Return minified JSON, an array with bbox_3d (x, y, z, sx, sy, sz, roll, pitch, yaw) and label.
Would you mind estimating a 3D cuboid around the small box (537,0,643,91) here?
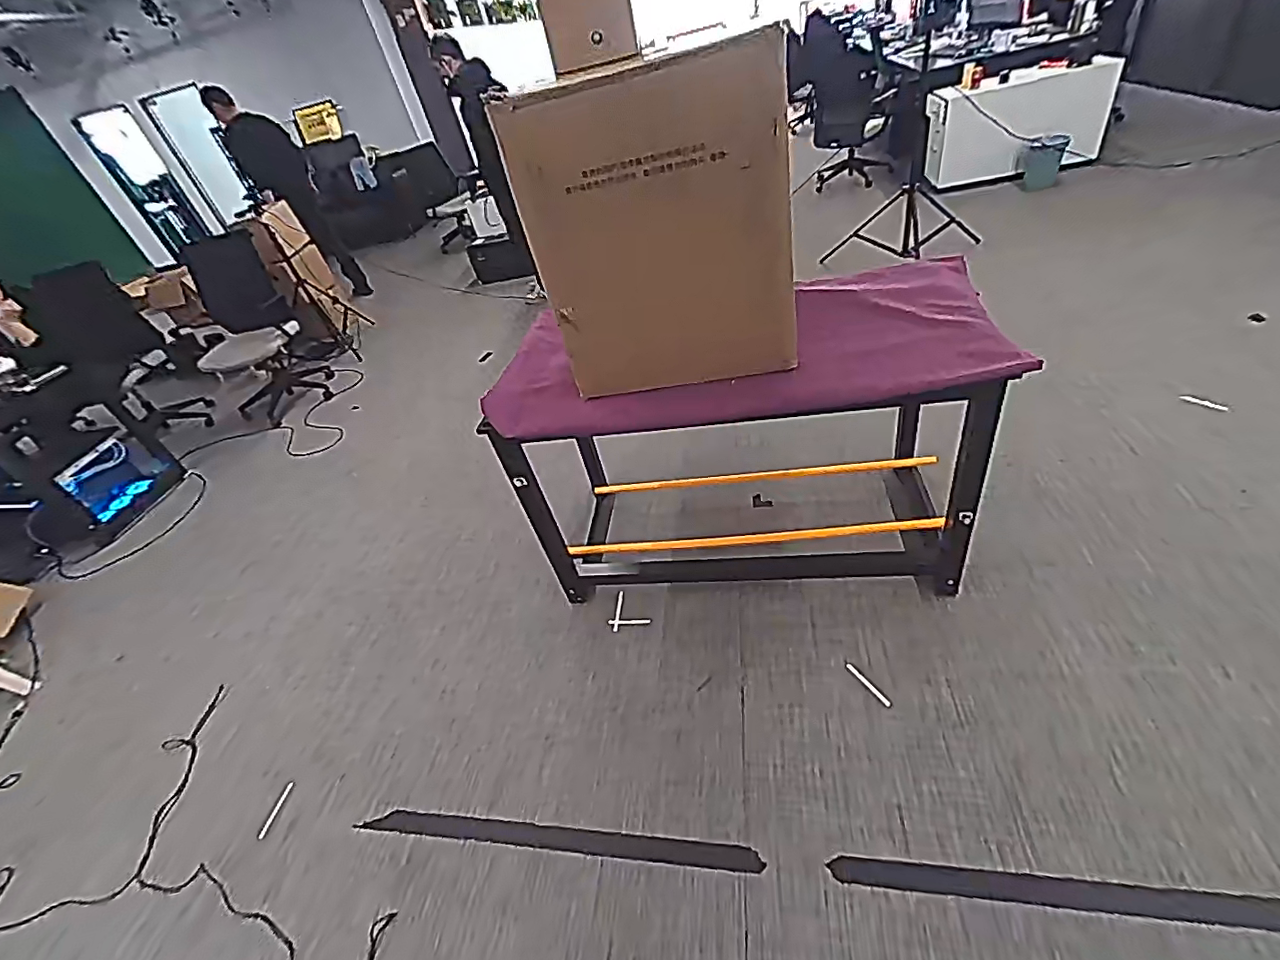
[{"bbox_3d":[-0.097,-0.916,1.091,0.179,0.176,0.168,-6,40,10],"label":"small box"}]
